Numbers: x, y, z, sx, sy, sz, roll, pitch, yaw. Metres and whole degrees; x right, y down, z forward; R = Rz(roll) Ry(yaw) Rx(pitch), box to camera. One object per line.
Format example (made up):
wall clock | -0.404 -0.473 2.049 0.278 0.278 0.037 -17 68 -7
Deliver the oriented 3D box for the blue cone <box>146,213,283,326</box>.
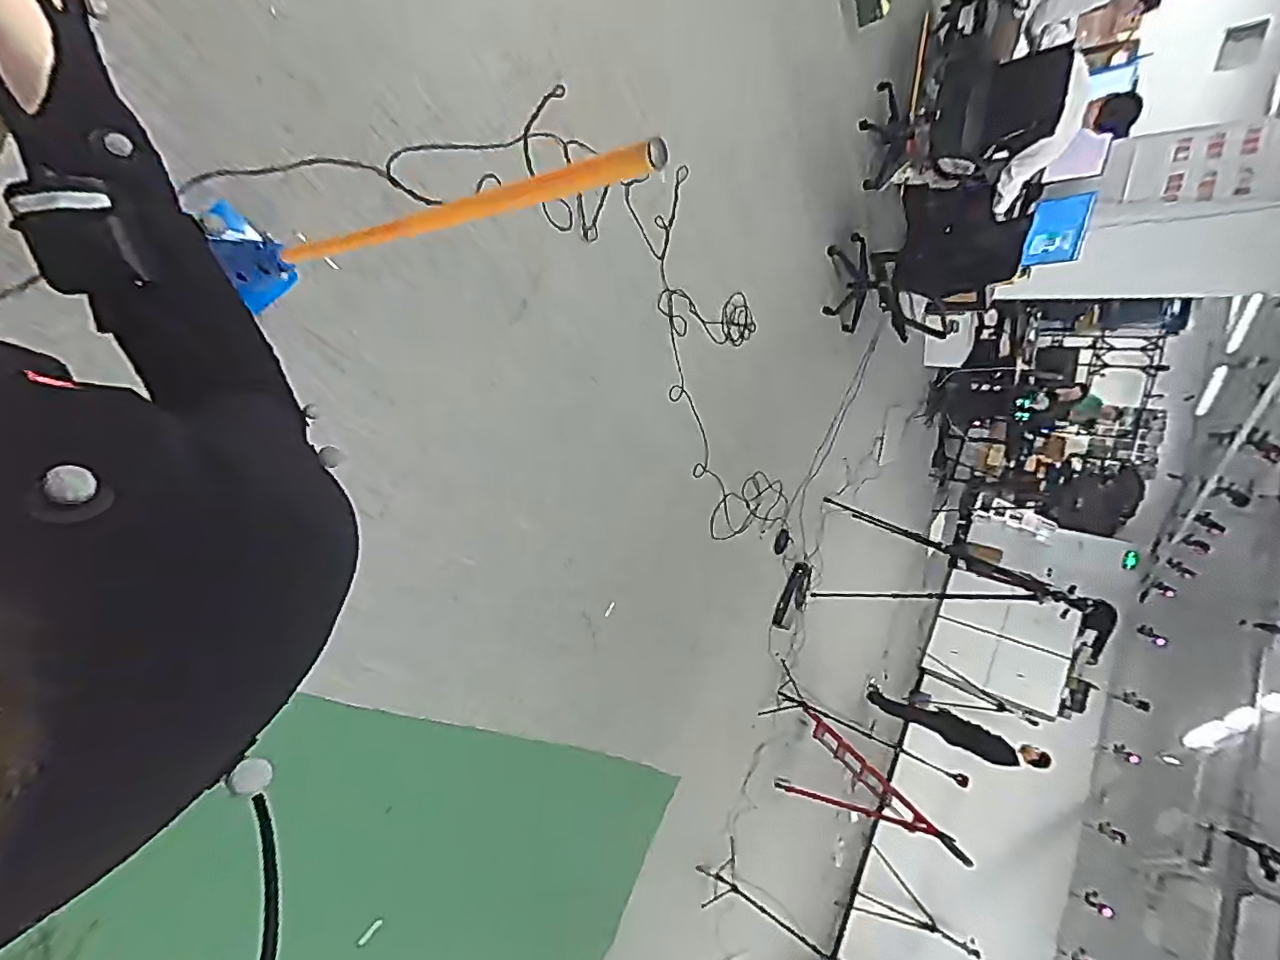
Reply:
blue cone | -0.791 -0.427 1.078 0.192 0.380 0.193 -56 138 -23
